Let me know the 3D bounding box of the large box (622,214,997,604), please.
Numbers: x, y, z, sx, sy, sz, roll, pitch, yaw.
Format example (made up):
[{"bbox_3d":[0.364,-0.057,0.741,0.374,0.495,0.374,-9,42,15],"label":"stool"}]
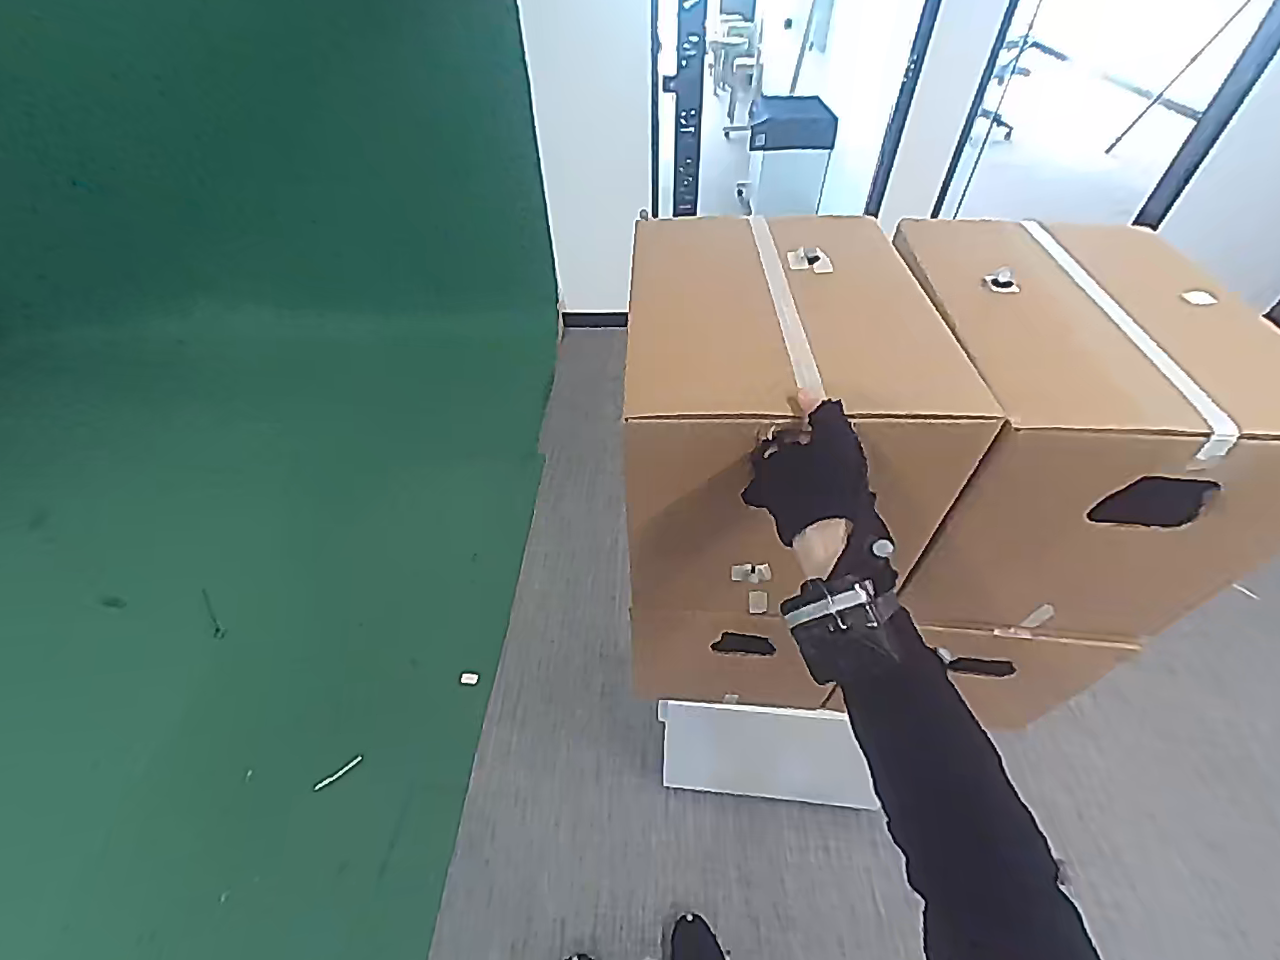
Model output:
[{"bbox_3d":[0.146,-0.095,0.682,0.320,0.320,0.408,0,46,2],"label":"large box"}]
